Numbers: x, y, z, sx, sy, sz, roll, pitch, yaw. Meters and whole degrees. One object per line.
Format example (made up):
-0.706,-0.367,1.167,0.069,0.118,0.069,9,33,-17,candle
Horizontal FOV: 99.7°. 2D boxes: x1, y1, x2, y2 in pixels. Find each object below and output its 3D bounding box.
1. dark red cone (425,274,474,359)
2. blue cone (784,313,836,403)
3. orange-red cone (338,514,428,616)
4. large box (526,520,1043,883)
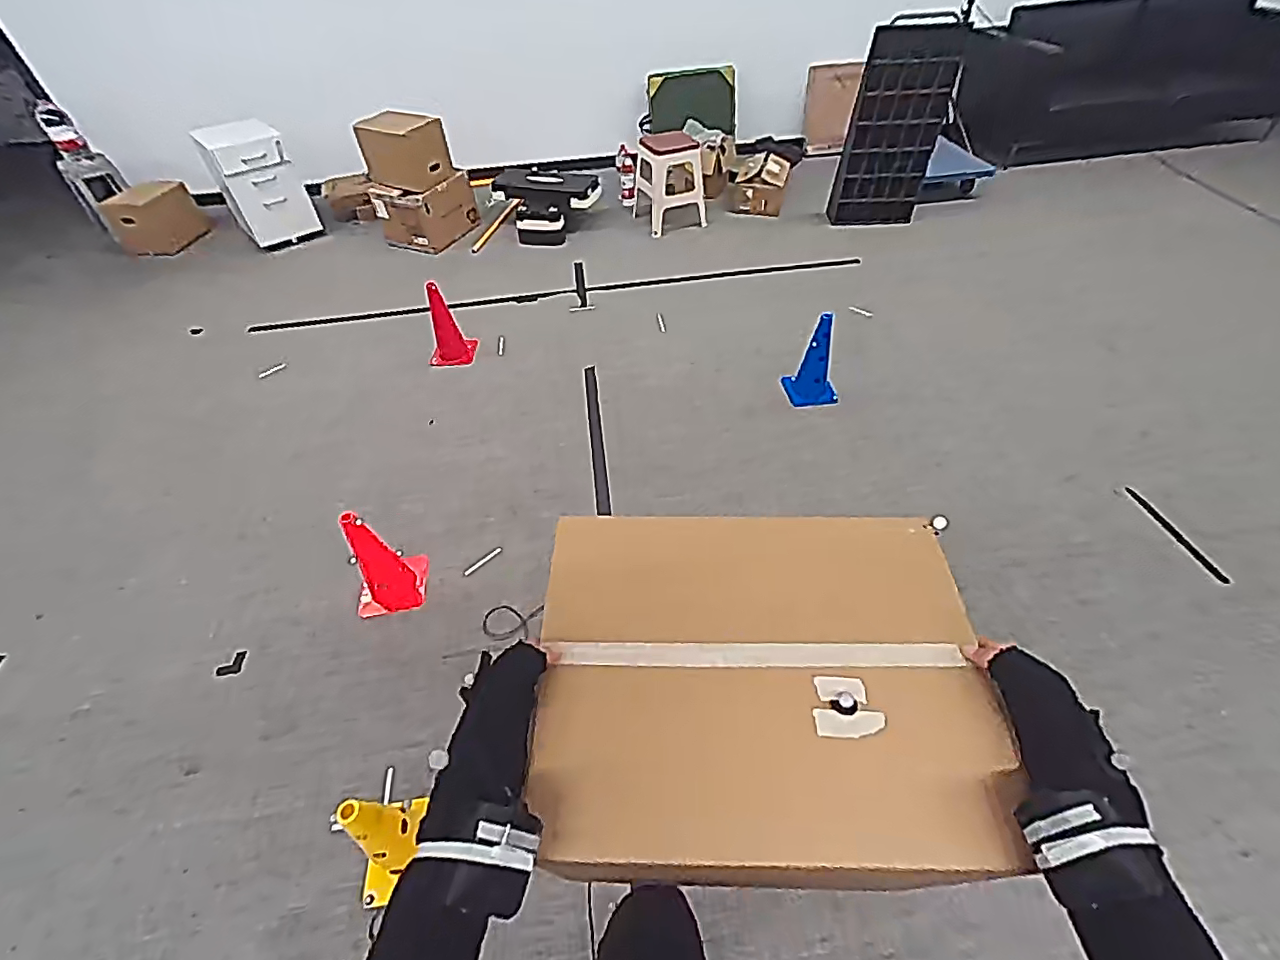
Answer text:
-0.908,-0.744,2.468,0.201,0.394,0.202,-3,48,-1,dark red cone
0.725,-0.505,2.208,0.192,0.380,0.193,-4,48,-2,blue cone
-0.795,0.225,1.607,0.198,0.360,0.199,-10,49,-5,orange-red cone
0.110,0.258,0.617,0.408,0.320,0.320,0,51,1,large box
